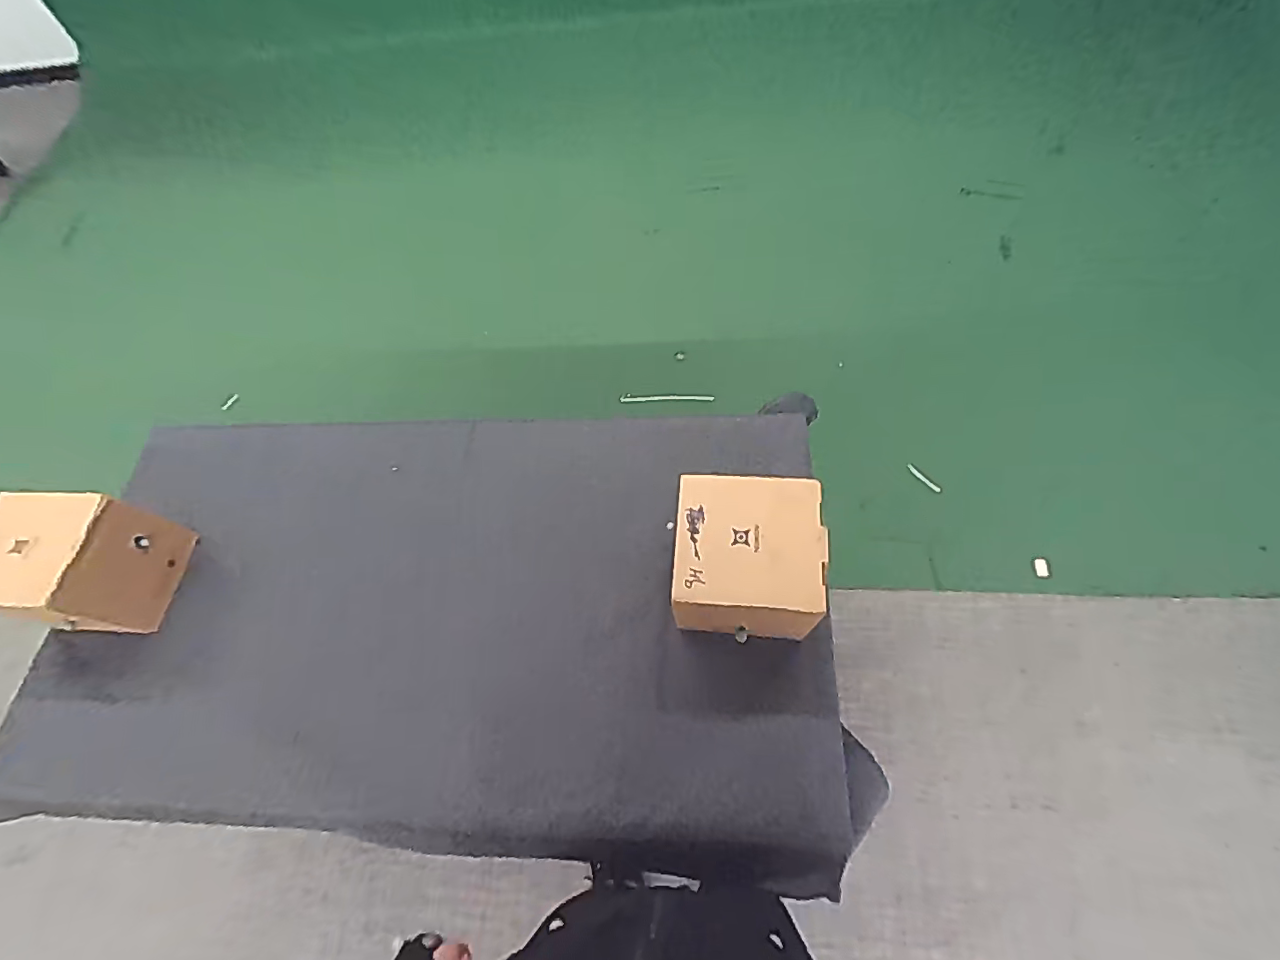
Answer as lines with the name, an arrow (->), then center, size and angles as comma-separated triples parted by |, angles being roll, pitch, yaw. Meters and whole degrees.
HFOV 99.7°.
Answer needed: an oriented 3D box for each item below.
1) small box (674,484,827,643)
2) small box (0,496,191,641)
small box -> 0.140, 0.118, 0.724 | 0.179, 0.176, 0.168 | 3, 64, 7
small box -> -0.836, 0.137, 0.804 | 0.179, 0.176, 0.168 | 2, 61, 7
